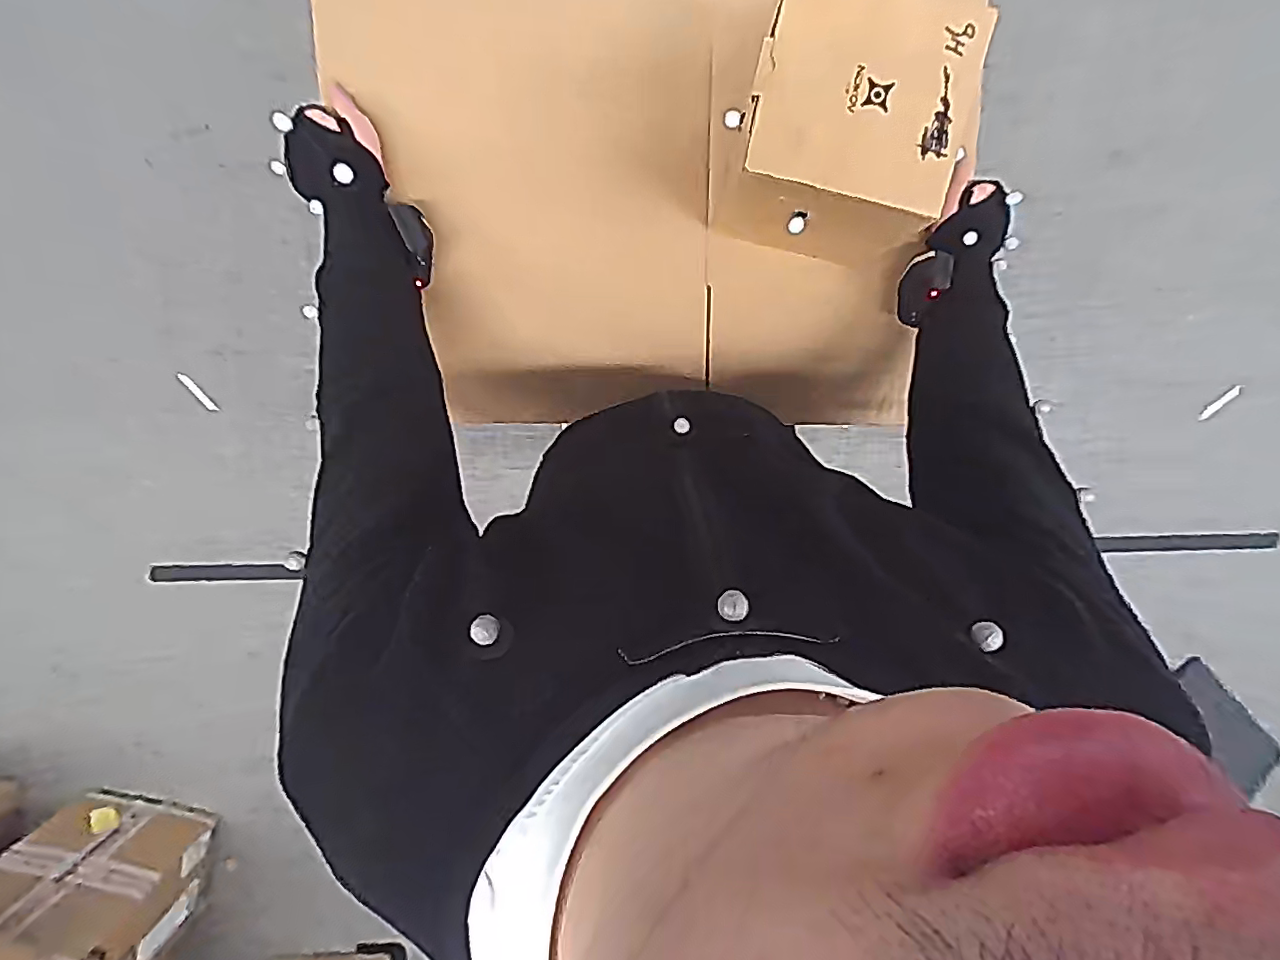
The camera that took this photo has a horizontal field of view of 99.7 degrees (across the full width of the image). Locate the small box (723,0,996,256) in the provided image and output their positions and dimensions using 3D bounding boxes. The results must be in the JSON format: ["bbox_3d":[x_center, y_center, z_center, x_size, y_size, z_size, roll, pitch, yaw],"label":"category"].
[{"bbox_3d":[0.189,-0.336,0.527,0.179,0.176,0.168,12,98,-2],"label":"small box"}]
